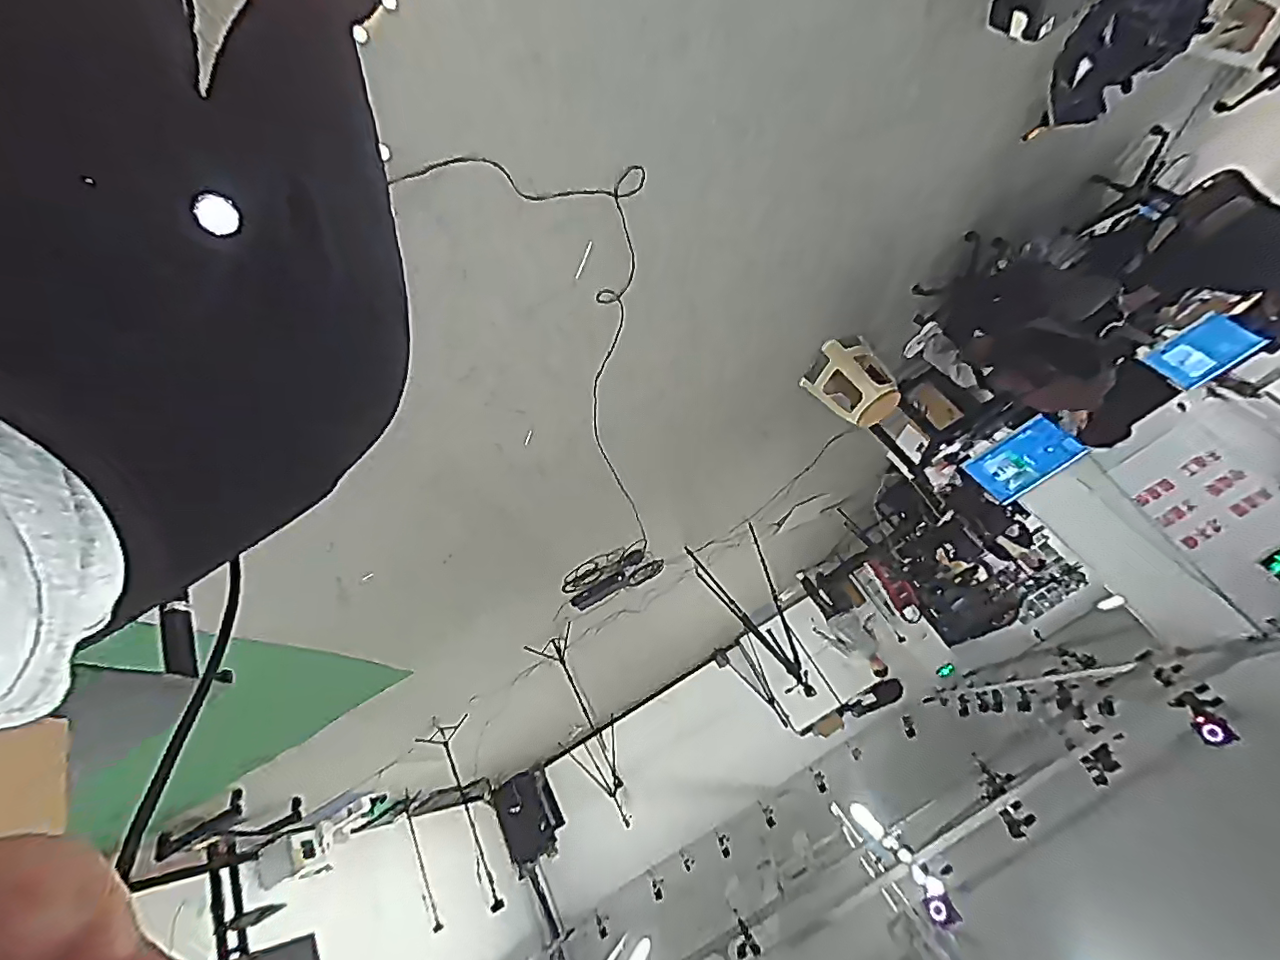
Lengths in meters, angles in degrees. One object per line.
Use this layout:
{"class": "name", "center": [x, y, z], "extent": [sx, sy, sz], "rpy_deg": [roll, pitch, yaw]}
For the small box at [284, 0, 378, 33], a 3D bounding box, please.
{"class": "small box", "center": [-0.370, -0.647, 0.585], "extent": [0.168, 0.179, 0.176], "rpy_deg": [-8, -172, -42]}
